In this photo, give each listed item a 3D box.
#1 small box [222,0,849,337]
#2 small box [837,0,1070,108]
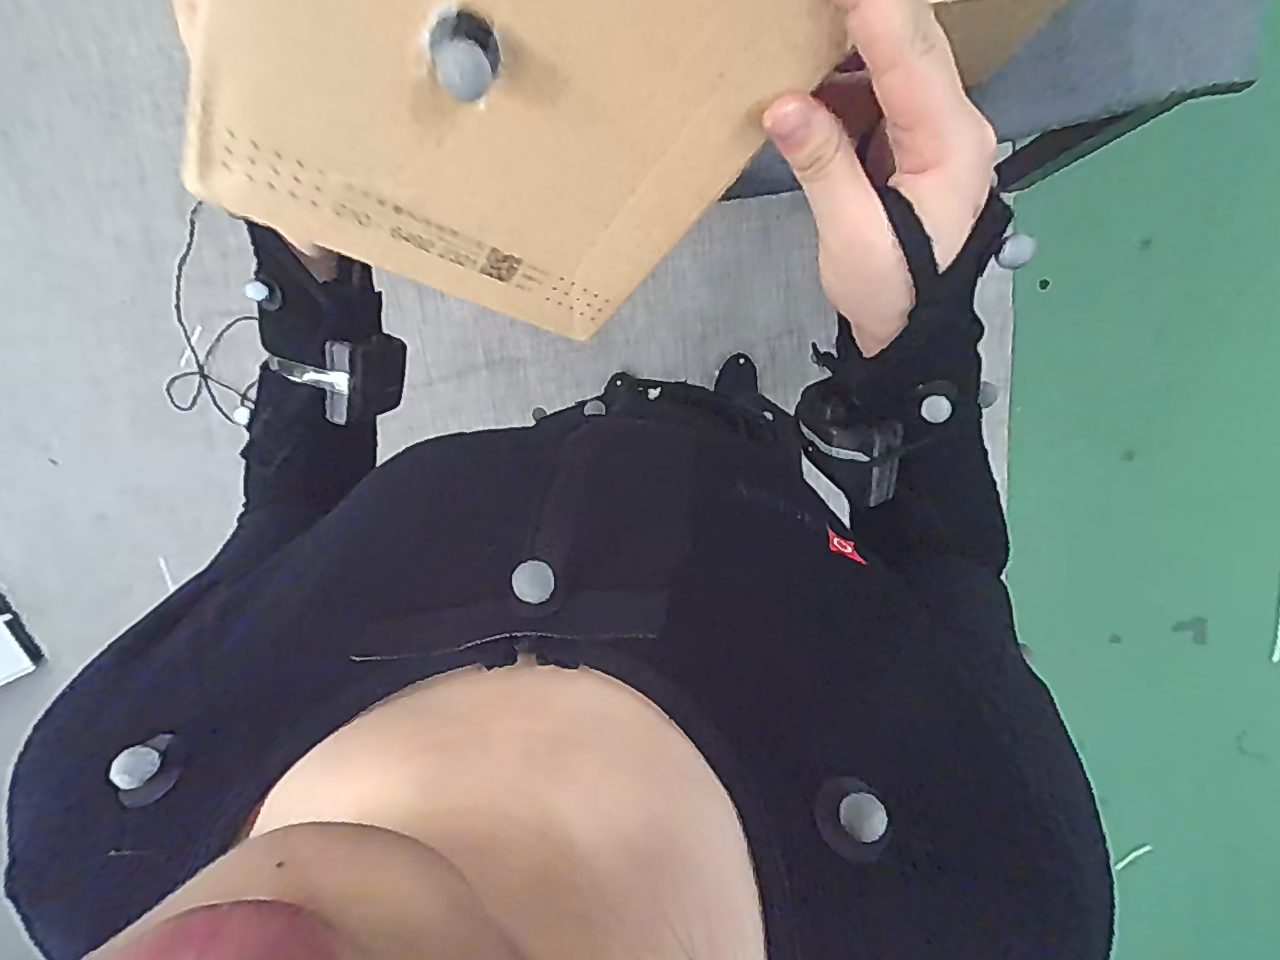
[{"bbox_3d":[-0.056,-0.190,0.222,0.176,0.168,0.179,-37,54,43],"label":"small box"},{"bbox_3d":[0.292,-0.504,0.523,0.168,0.176,0.179,-3,101,8],"label":"small box"}]
